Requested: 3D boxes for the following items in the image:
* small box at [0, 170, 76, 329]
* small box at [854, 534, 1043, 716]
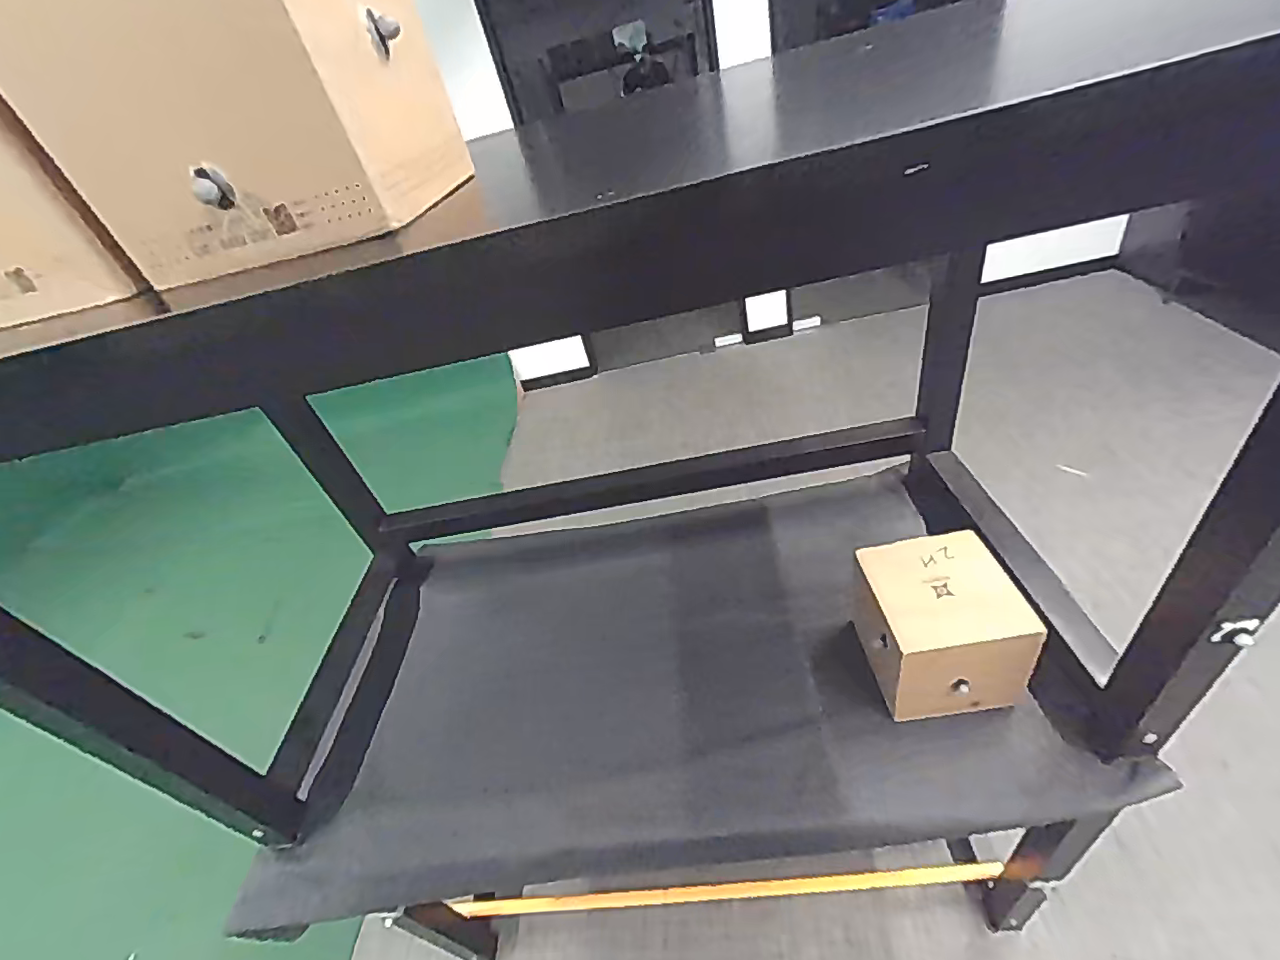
[{"bbox_3d":[-0.592,-0.176,0.395,0.168,0.176,0.179,-11,39,6],"label":"small box"},{"bbox_3d":[0.408,0.207,0.750,0.168,0.176,0.179,-11,37,6],"label":"small box"}]
